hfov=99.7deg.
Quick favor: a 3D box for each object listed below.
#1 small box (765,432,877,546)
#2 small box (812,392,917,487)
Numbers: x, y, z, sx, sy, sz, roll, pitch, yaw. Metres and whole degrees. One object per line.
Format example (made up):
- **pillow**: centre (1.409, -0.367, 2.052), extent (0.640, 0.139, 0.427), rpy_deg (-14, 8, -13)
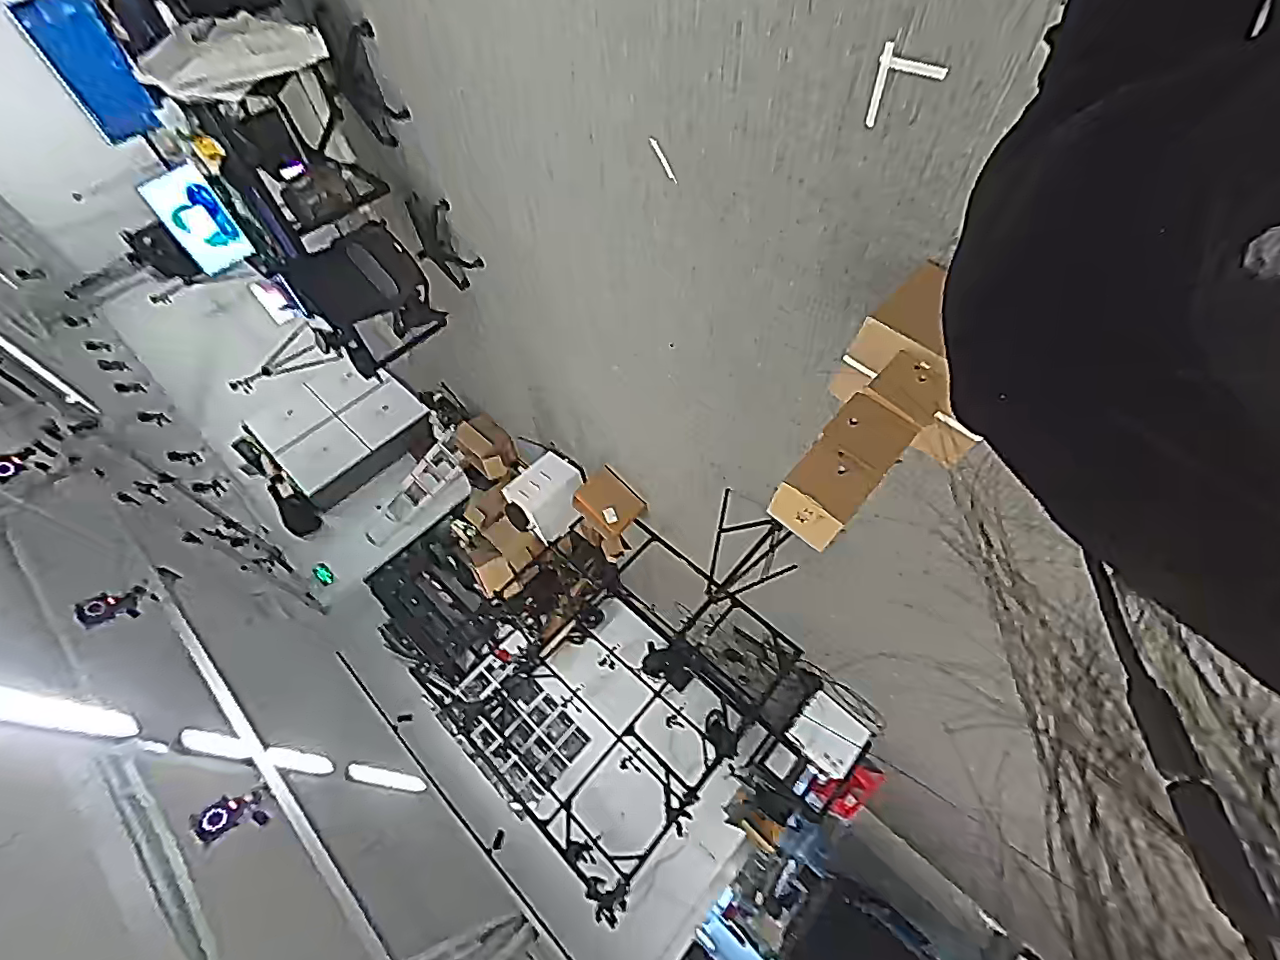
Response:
- **small box**: centre (0.429, 0.022, 1.288), extent (0.168, 0.176, 0.179), rpy_deg (39, 158, 17)
- **small box**: centre (0.538, -0.091, 1.337), extent (0.179, 0.176, 0.168), rpy_deg (38, 158, 19)
